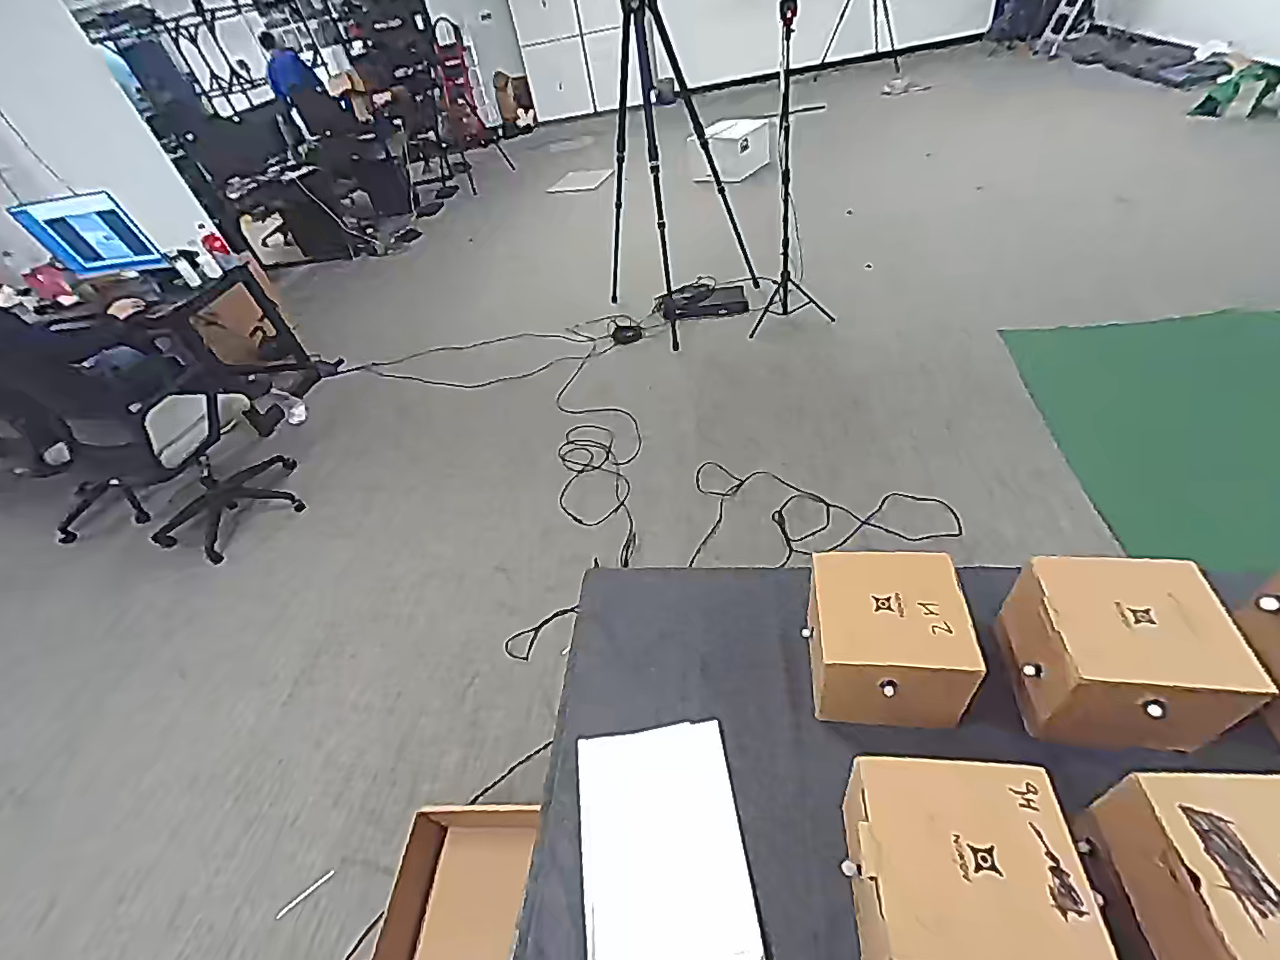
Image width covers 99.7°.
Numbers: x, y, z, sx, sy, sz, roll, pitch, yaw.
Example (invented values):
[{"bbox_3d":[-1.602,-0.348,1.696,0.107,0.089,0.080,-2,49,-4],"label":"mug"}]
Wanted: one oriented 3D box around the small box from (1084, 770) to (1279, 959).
[{"bbox_3d":[0.549,0.380,0.487,0.179,0.176,0.168,-3,43,9],"label":"small box"}]
